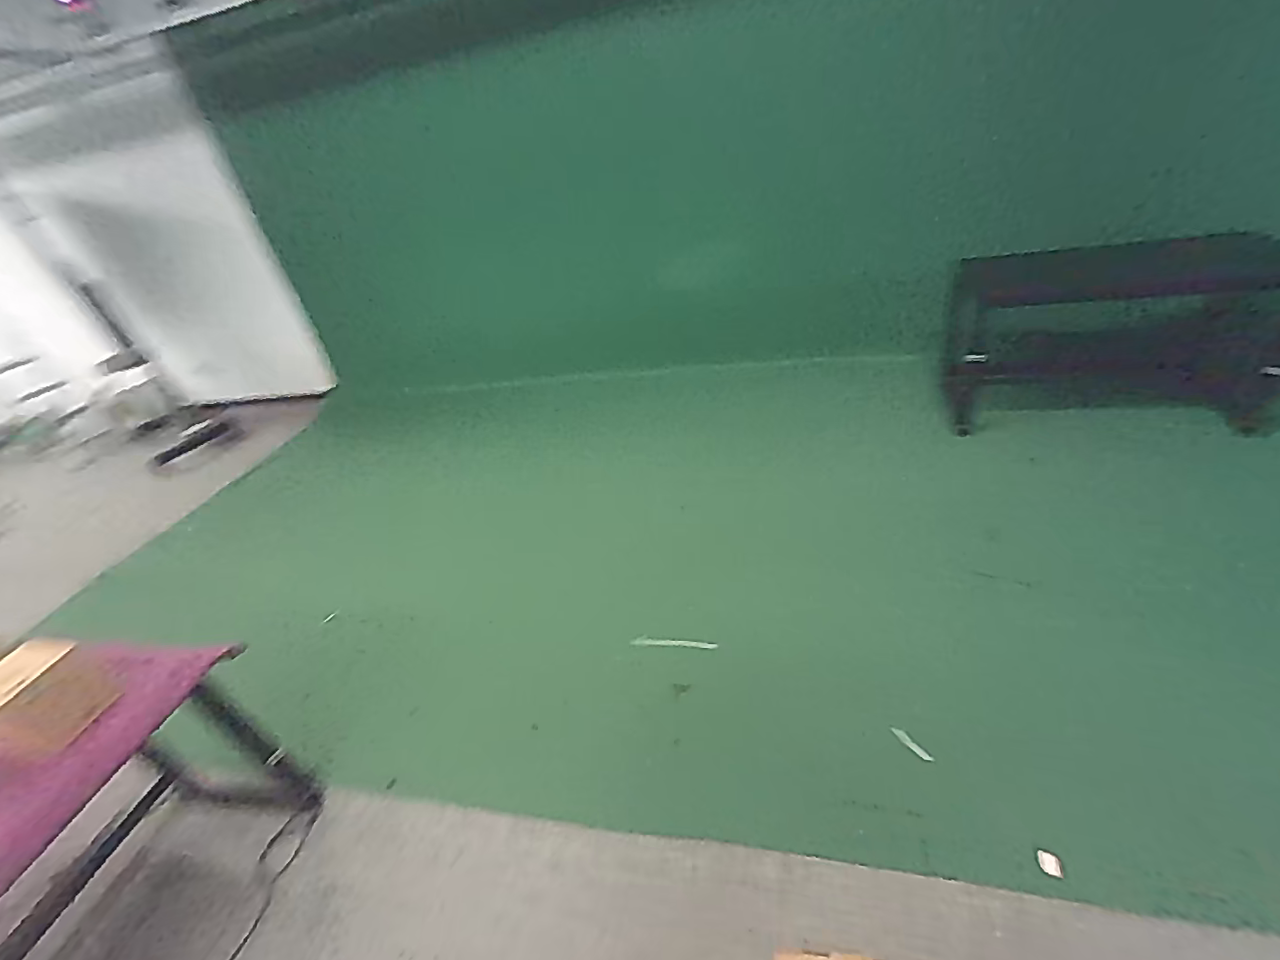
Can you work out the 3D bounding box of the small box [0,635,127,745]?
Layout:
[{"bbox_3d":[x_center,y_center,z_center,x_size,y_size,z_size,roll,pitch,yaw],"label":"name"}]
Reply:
[{"bbox_3d":[-1.338,0.470,1.214,0.179,0.176,0.168,-2,37,17],"label":"small box"}]
